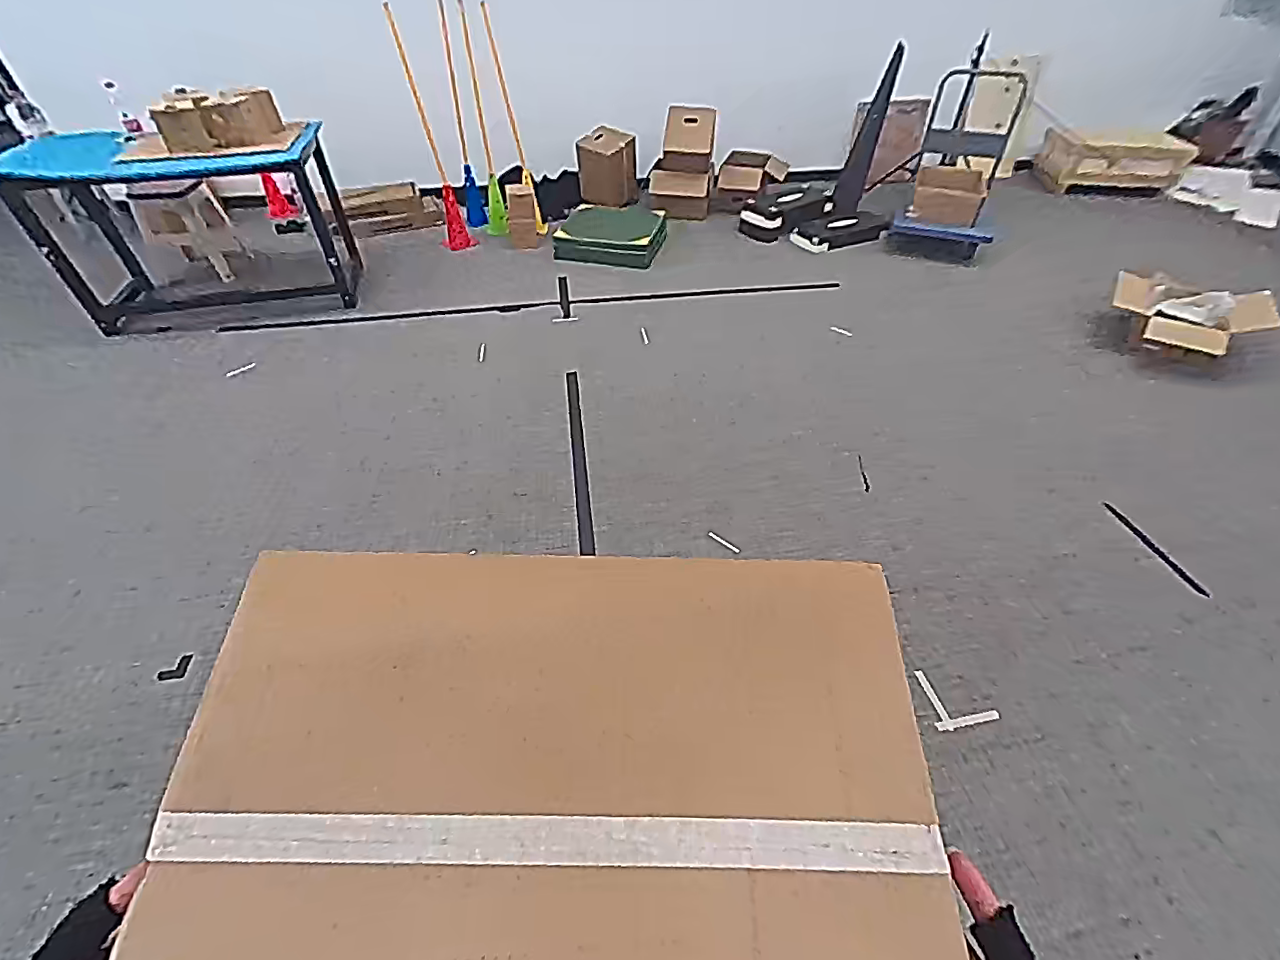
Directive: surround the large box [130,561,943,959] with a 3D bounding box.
[{"bbox_3d":[-0.051,0.263,0.419,0.408,0.320,0.320,1,61,0],"label":"large box"}]
